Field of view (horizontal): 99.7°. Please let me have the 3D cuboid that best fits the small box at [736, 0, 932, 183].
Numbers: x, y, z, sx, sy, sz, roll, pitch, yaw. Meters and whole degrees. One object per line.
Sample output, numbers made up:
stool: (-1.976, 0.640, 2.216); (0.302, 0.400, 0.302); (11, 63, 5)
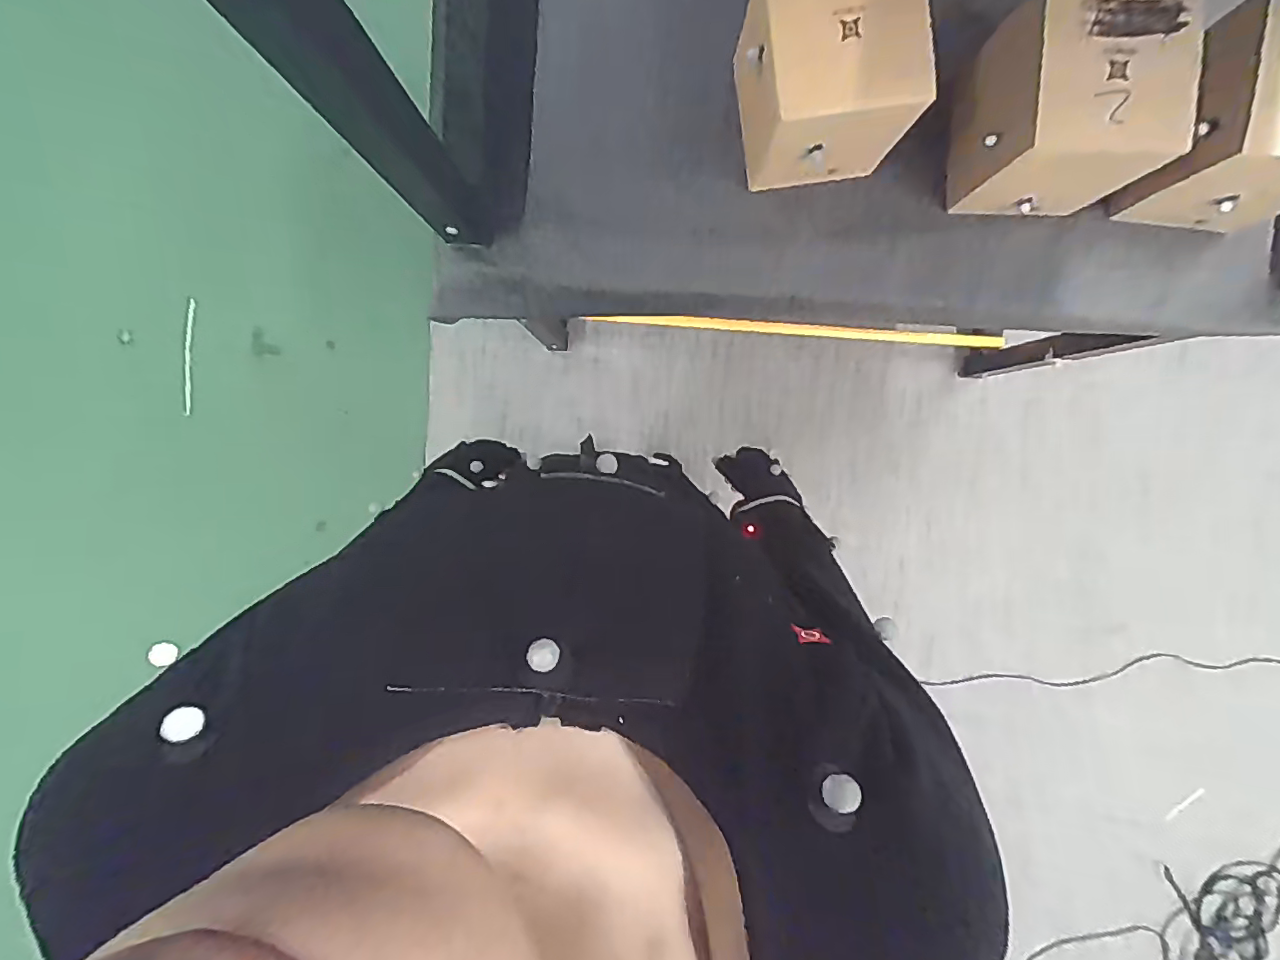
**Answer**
small box: (0.215, -0.477, 0.639); (0.168, 0.176, 0.179); (-7, 94, 1)
